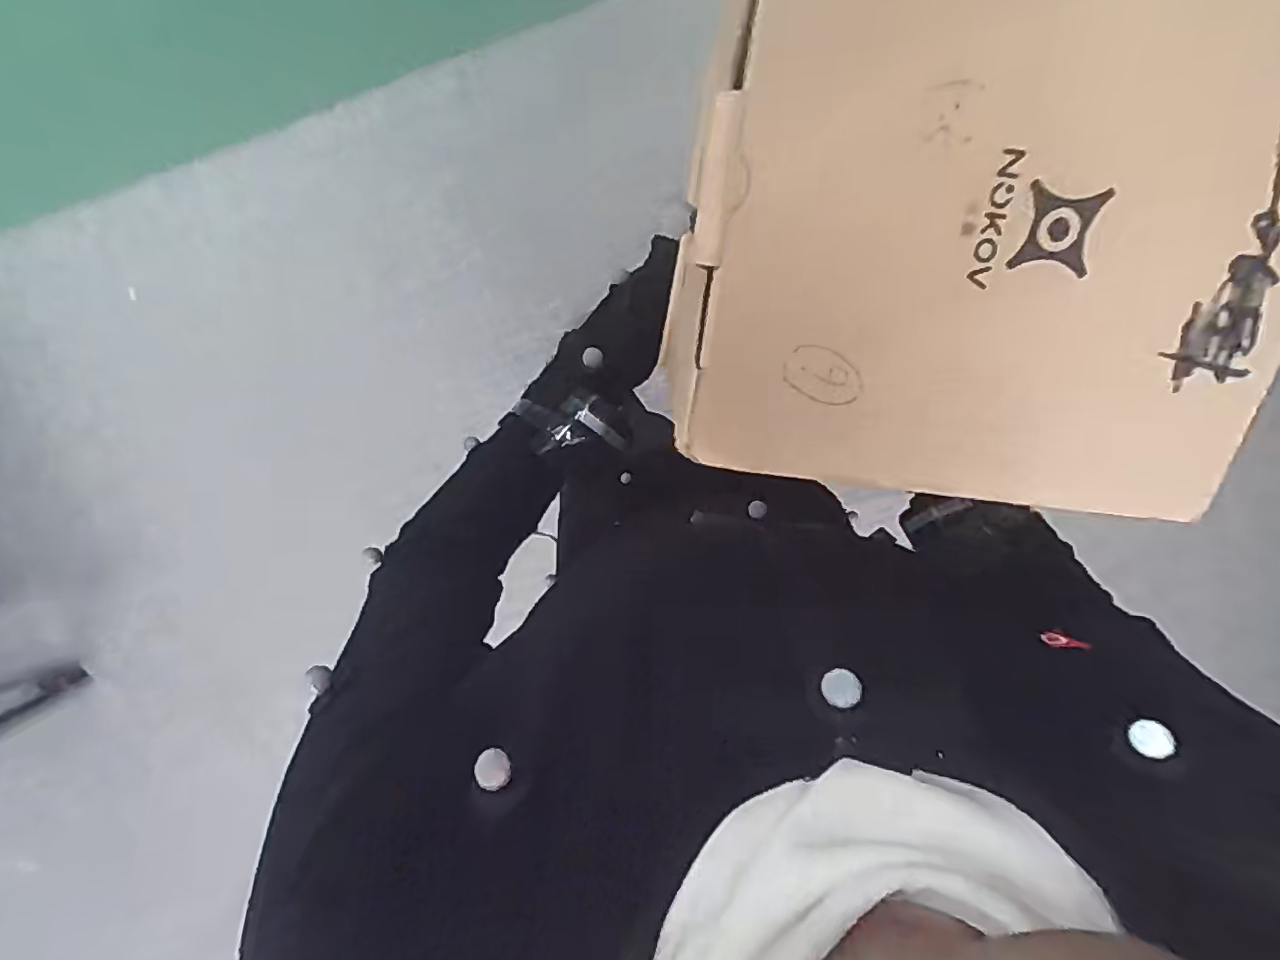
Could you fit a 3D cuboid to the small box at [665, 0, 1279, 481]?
[{"bbox_3d":[0.104,-0.106,0.237,0.179,0.176,0.168,4,107,0],"label":"small box"}]
